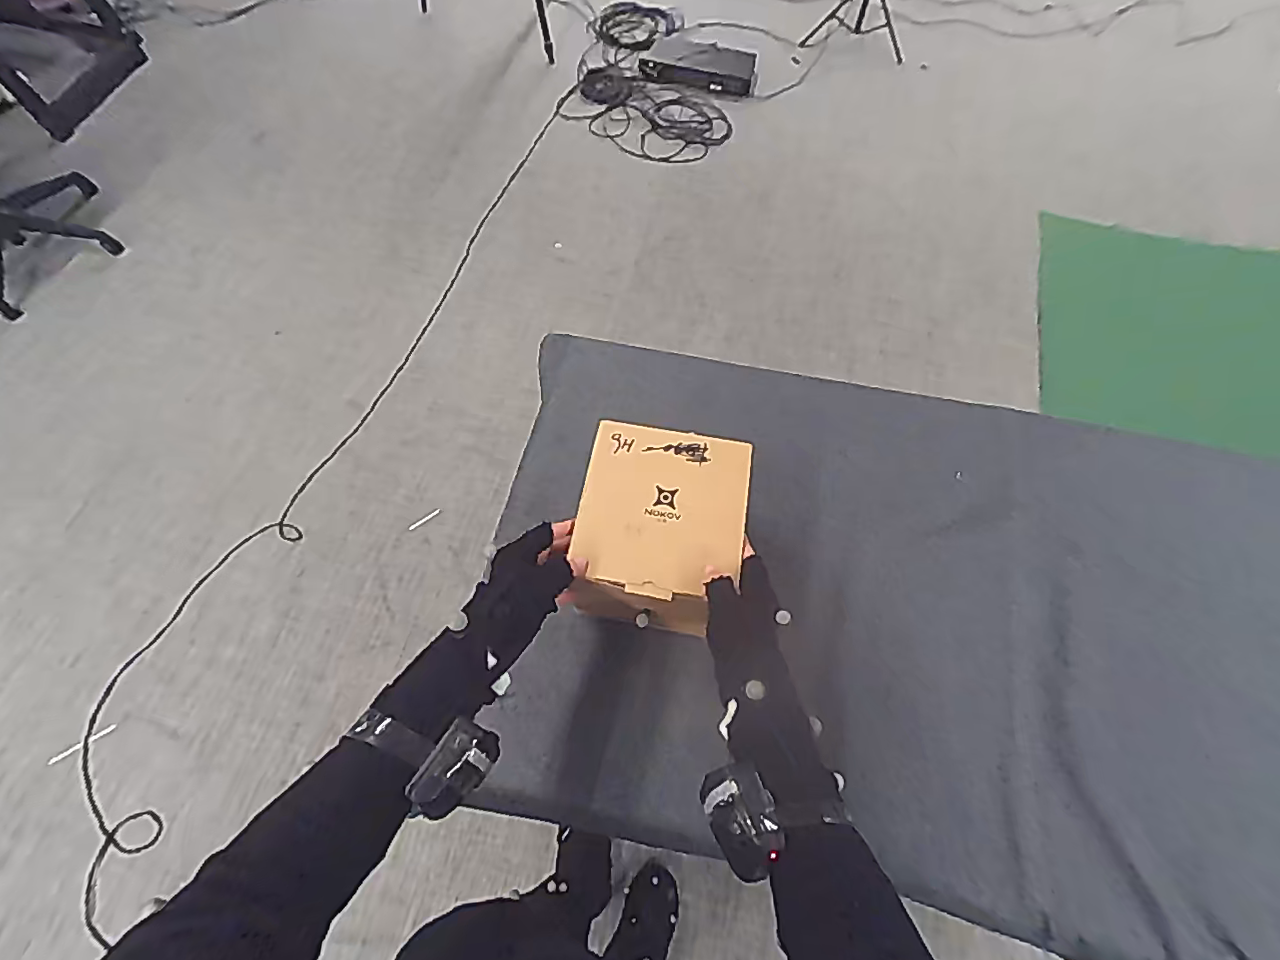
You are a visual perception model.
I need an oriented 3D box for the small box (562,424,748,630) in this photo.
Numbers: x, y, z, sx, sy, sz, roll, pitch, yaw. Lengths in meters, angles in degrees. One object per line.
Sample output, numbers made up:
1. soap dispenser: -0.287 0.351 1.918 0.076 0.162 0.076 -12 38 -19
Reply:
1. small box: 0.021 0.062 0.615 0.168 0.176 0.179 9 65 4
